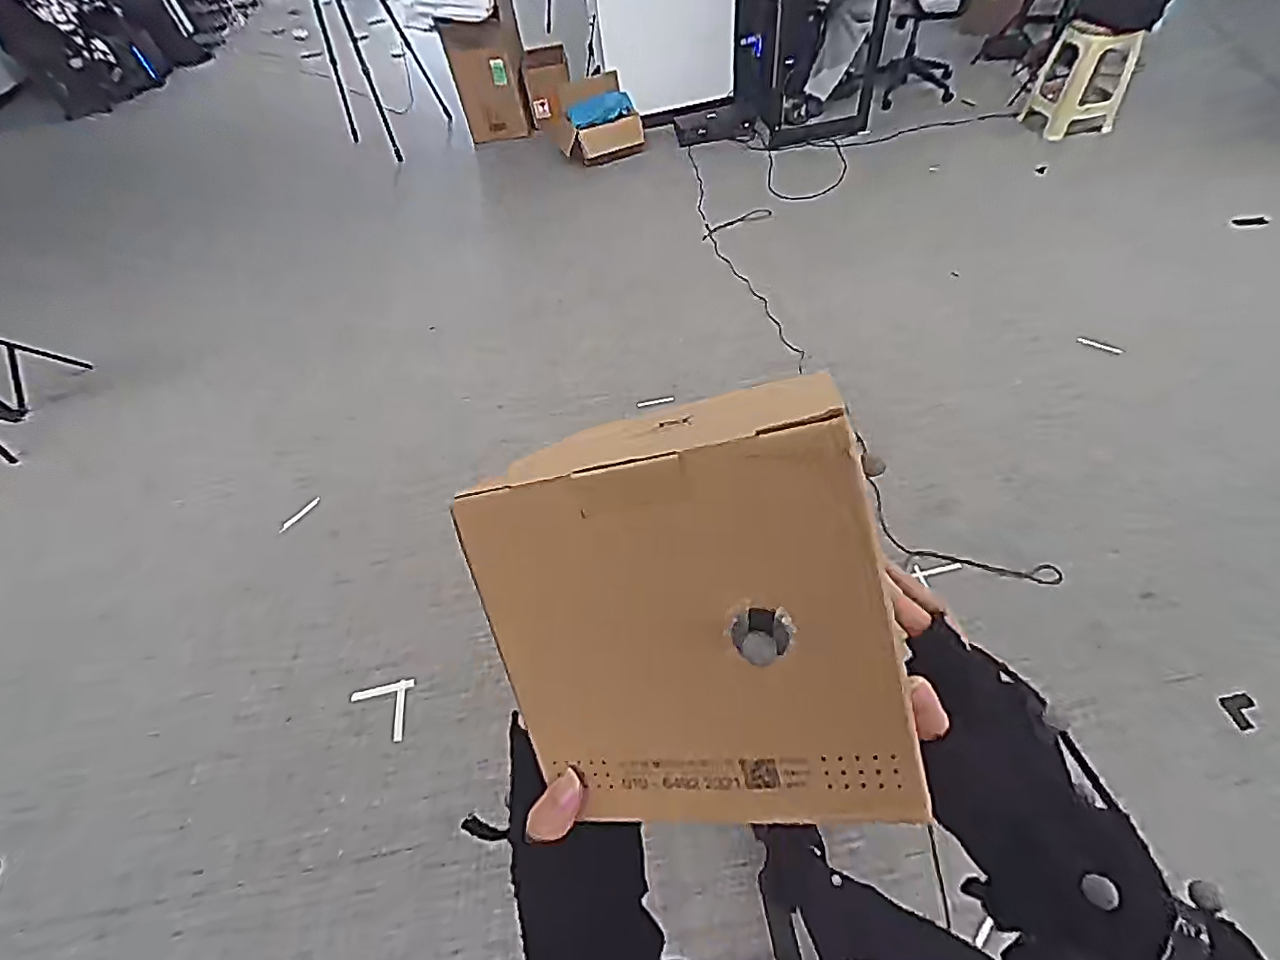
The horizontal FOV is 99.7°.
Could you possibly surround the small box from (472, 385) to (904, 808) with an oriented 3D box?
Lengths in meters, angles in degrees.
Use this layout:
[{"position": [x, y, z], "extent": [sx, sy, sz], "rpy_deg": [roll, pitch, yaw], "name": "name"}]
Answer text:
[{"position": [0.042, 0.056, 0.314], "extent": [0.168, 0.176, 0.179], "rpy_deg": [-12, 12, 20], "name": "small box"}]
